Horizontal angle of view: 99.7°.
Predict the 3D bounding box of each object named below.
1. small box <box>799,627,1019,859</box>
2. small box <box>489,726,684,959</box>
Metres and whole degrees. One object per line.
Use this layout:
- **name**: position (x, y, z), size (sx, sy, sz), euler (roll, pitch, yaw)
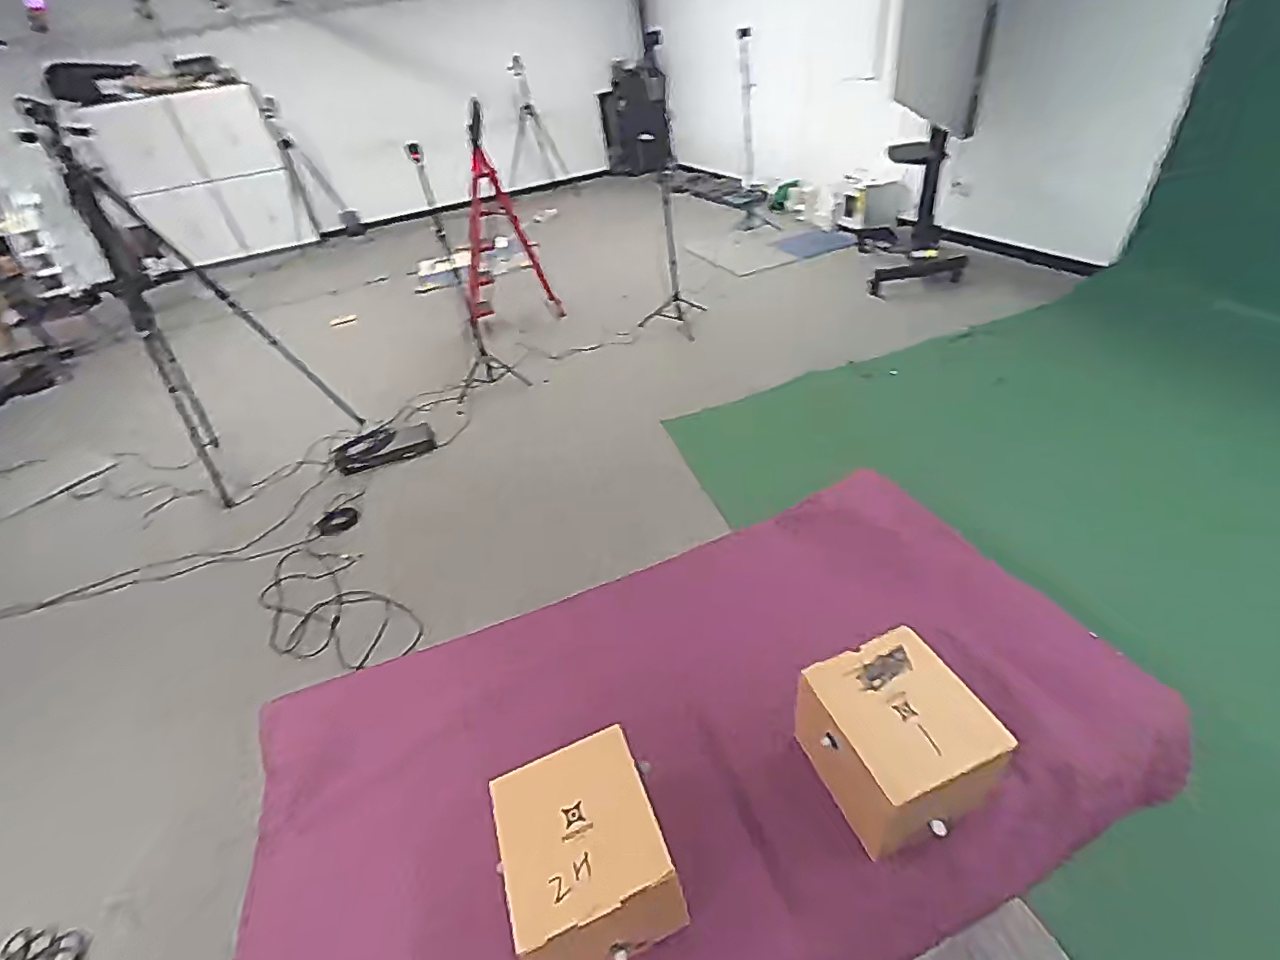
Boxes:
- **small box**: position (0.316, 0.326, 0.679), size (0.168, 0.176, 0.179), euler (-19, 39, -11)
- **small box**: position (-0.061, 0.432, 0.625), size (0.168, 0.176, 0.179), euler (-20, 37, -12)
